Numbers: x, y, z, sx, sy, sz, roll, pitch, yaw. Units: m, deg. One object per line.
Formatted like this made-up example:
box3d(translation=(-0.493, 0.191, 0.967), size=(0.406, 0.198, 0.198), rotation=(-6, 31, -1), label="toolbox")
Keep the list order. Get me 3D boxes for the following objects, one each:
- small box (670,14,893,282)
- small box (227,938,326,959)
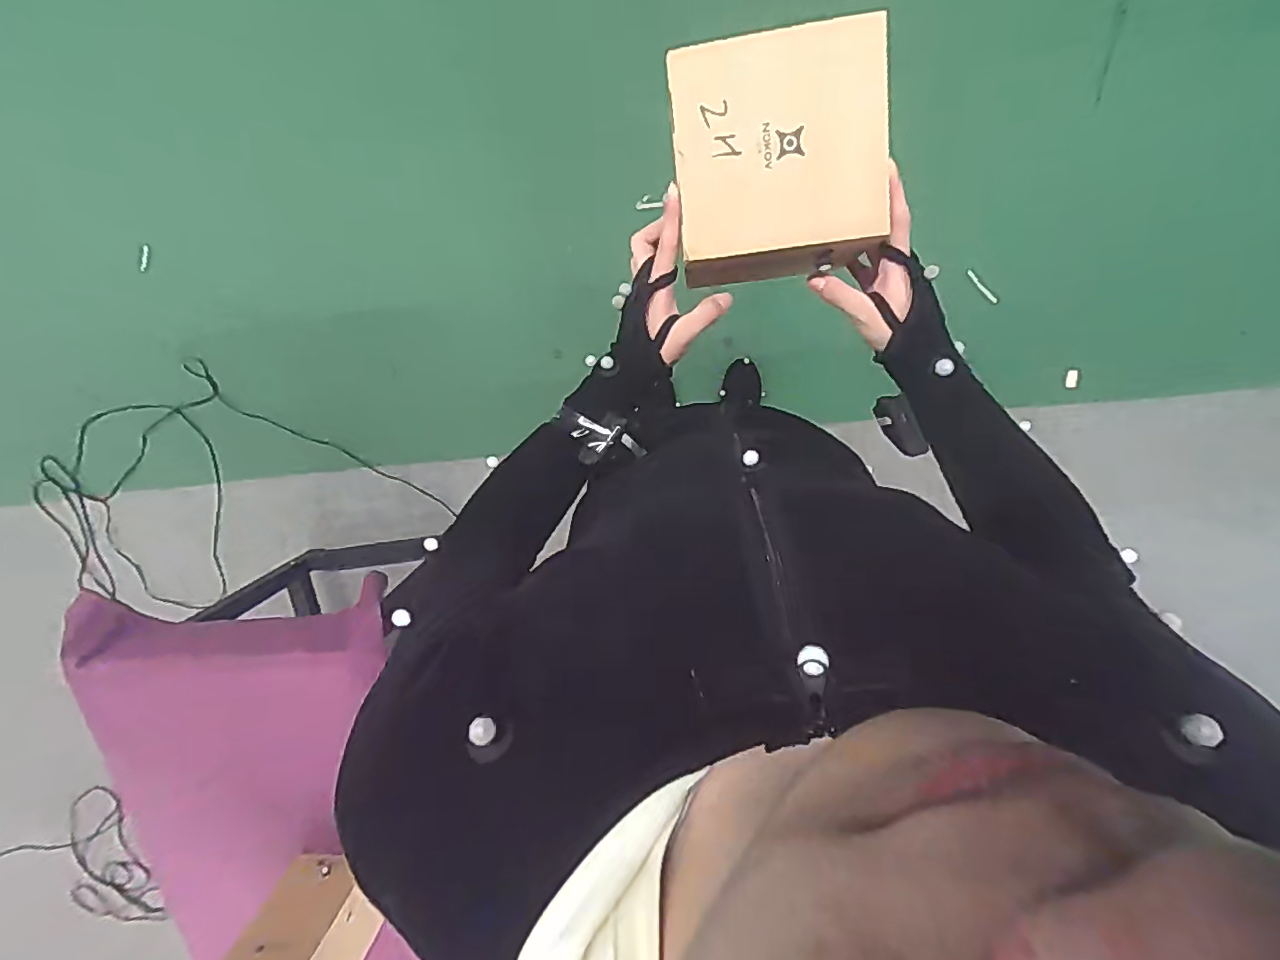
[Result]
box3d(translation=(0.122, -0.293, 0.520), size=(0.179, 0.176, 0.168), rotation=(-3, 101, 7), label="small box")
box3d(translation=(-0.664, 0.944, 0.938), size=(0.168, 0.176, 0.179), rotation=(-1, 103, 5), label="small box")
